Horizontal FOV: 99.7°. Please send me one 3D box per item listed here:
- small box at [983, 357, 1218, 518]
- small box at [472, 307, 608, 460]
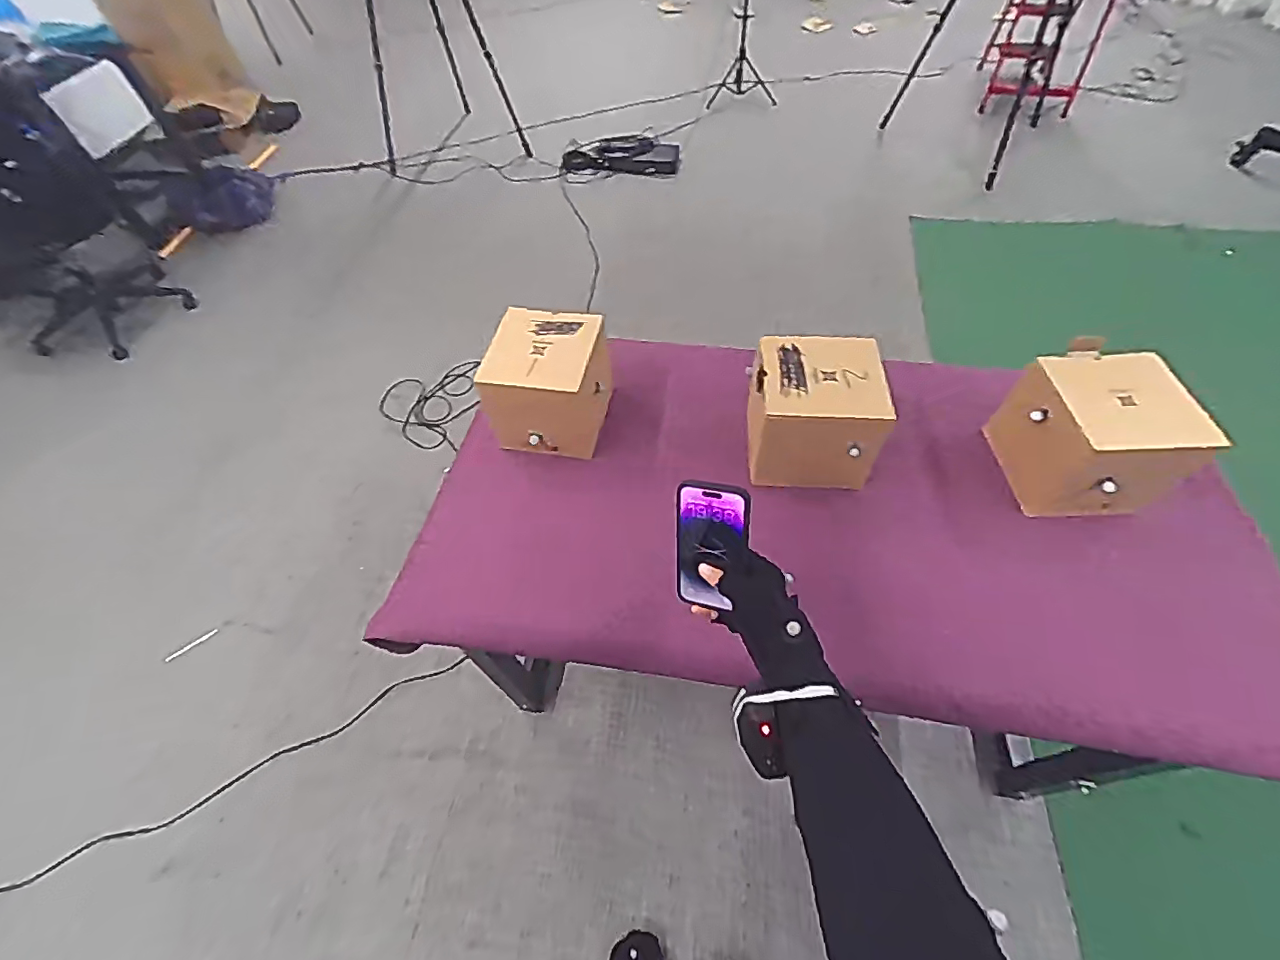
[{"bbox_3d":[0.646,-0.055,0.789,0.168,0.176,0.179,-2,54,2],"label":"small box"},{"bbox_3d":[-0.153,-0.159,0.903,0.168,0.176,0.179,8,57,8],"label":"small box"}]
